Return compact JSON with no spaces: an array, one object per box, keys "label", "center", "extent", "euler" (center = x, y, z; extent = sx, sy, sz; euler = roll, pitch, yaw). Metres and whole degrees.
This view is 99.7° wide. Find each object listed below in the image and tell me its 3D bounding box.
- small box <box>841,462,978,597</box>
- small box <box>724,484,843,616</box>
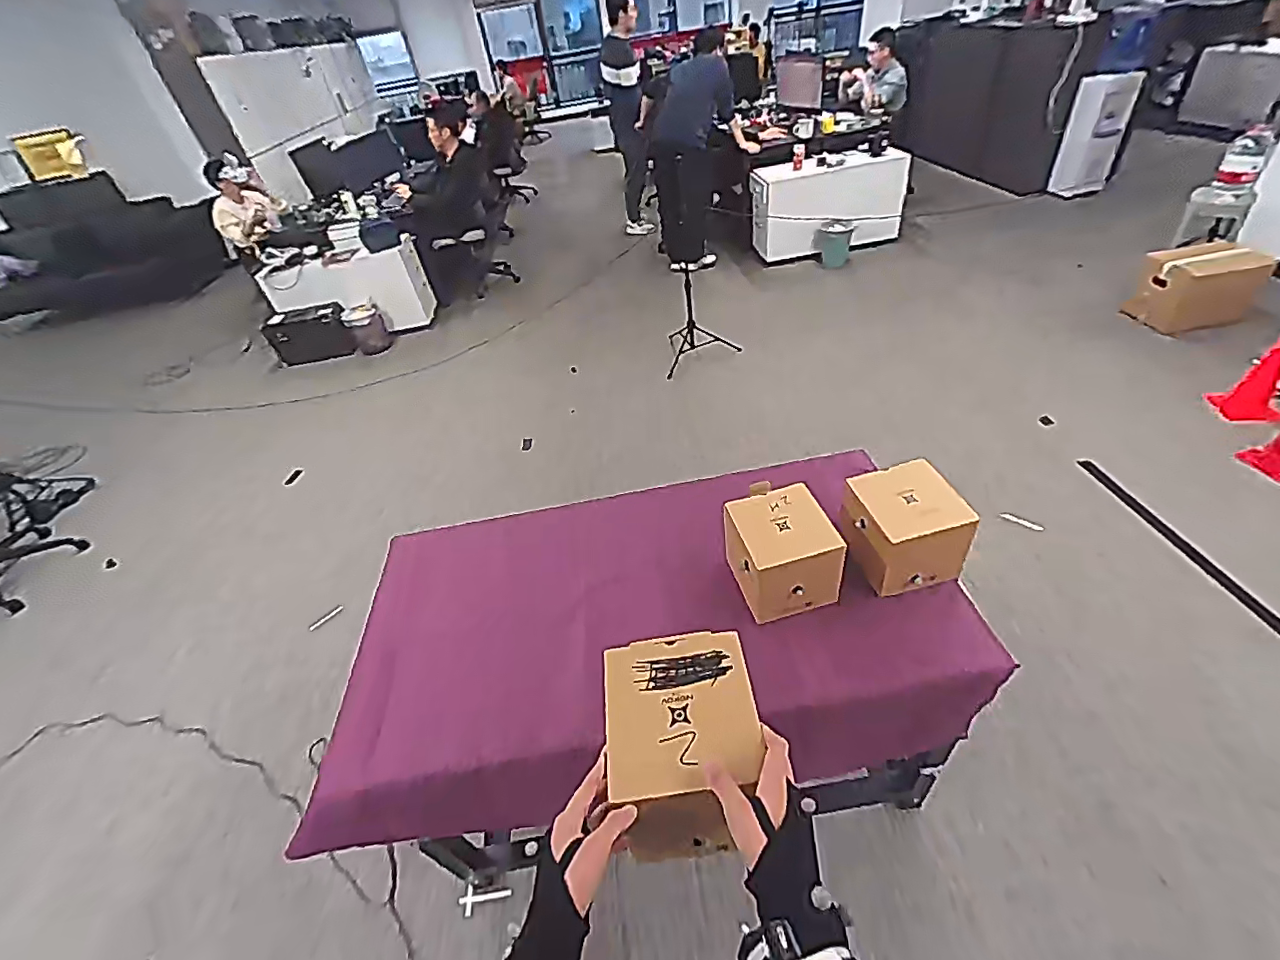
[{"label":"small box","center":[0.506,0.095,1.048],"extent":[0.168,0.176,0.179],"euler":[-14,41,-2]},{"label":"small box","center":[0.271,0.141,1.046],"extent":[0.168,0.176,0.179],"euler":[-14,41,-4]}]
